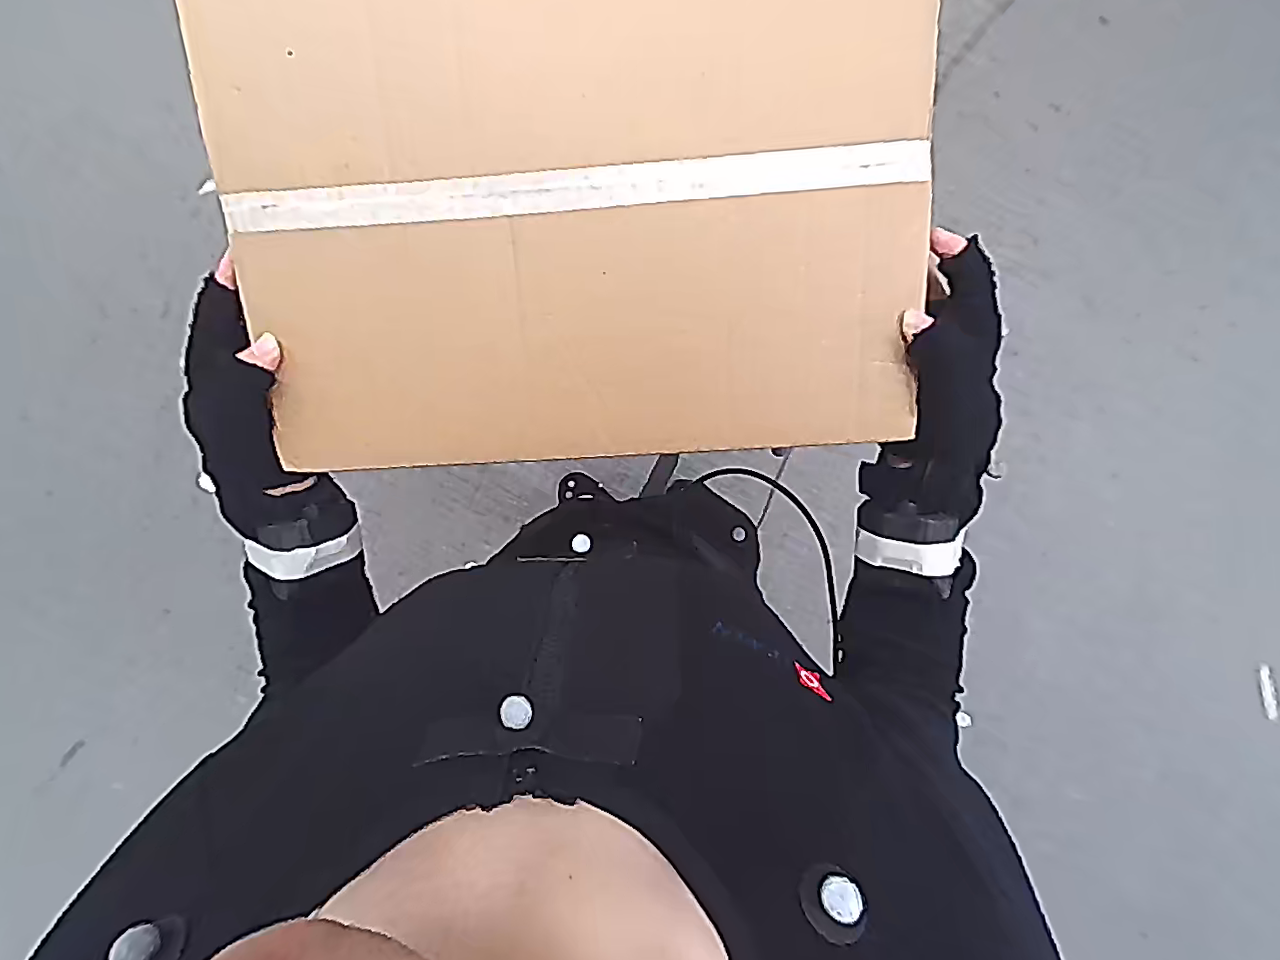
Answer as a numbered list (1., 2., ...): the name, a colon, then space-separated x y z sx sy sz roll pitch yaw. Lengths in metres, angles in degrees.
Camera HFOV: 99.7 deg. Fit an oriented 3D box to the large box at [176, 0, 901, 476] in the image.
1. large box: -0.044 -0.204 0.464 0.408 0.320 0.320 -4 103 2
